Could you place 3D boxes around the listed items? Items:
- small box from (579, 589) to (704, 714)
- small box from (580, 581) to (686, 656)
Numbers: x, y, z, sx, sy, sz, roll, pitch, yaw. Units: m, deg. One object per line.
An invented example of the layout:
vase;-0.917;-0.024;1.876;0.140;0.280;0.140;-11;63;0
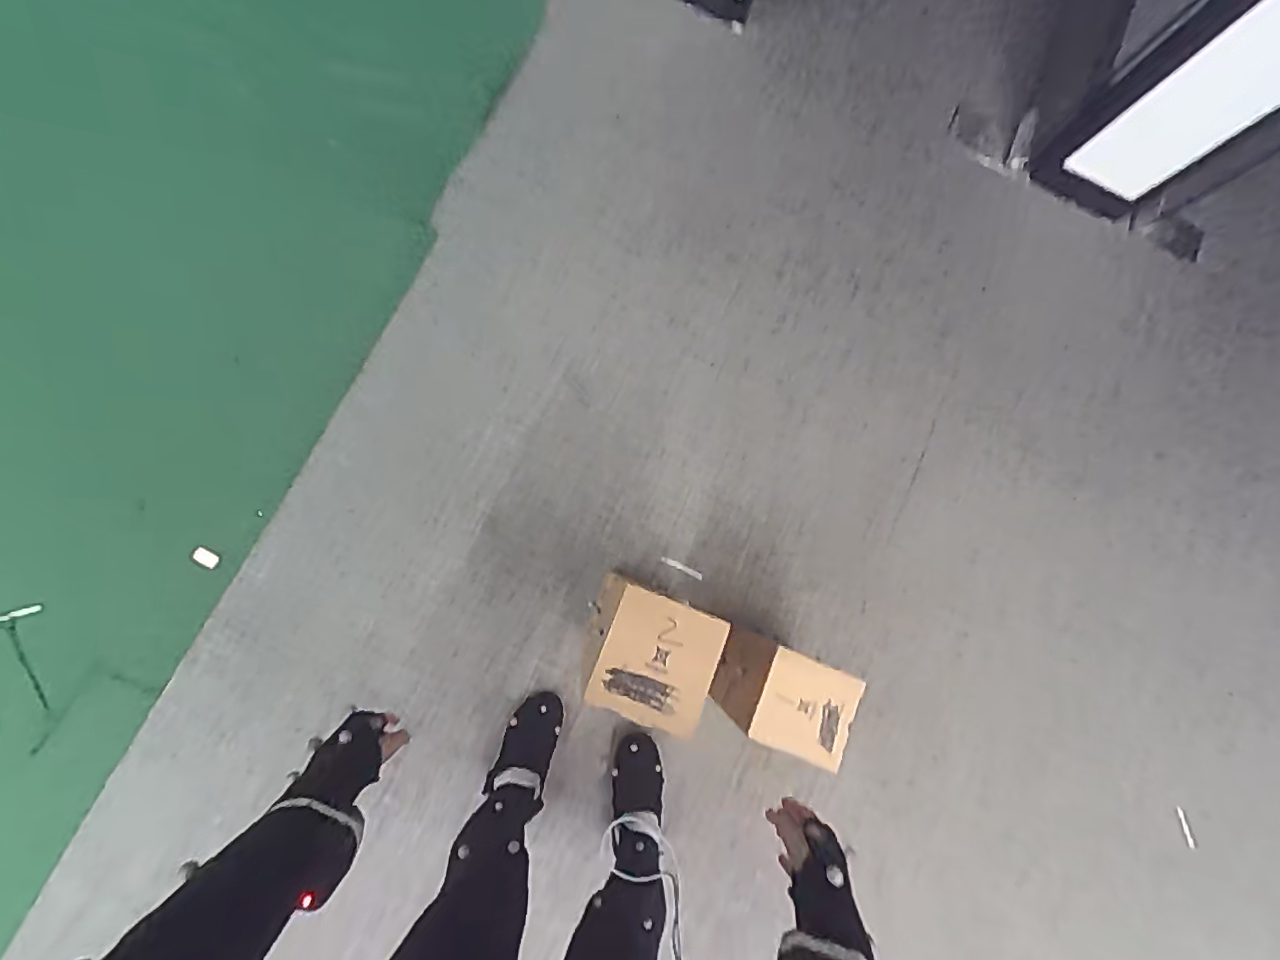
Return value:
small box;-0.003;0.309;1.016;0.179;0.176;0.168;23;79;-2
small box;-0.021;0.324;1.178;0.179;0.176;0.168;22;79;-2
